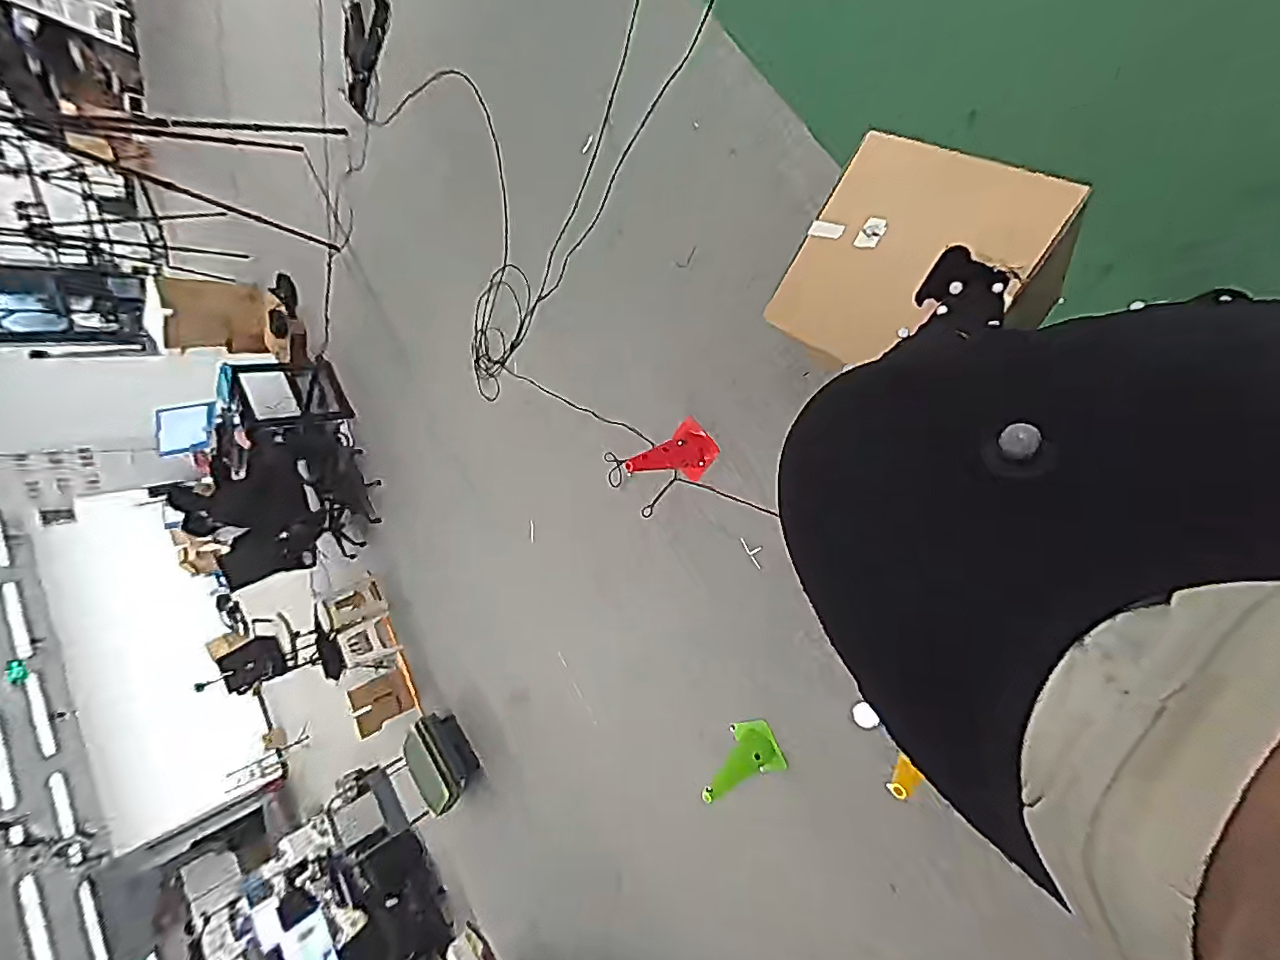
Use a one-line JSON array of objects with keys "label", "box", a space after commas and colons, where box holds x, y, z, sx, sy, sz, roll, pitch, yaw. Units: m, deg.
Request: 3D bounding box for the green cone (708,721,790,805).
[{"label": "green cone", "box": [0.374, 1.112, 2.060, 0.202, 0.368, 0.200, -34, 78, 42]}]

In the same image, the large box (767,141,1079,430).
[{"label": "large box", "box": [0.484, -0.310, 0.948, 0.320, 0.408, 0.320, 38, 108, 29]}]
